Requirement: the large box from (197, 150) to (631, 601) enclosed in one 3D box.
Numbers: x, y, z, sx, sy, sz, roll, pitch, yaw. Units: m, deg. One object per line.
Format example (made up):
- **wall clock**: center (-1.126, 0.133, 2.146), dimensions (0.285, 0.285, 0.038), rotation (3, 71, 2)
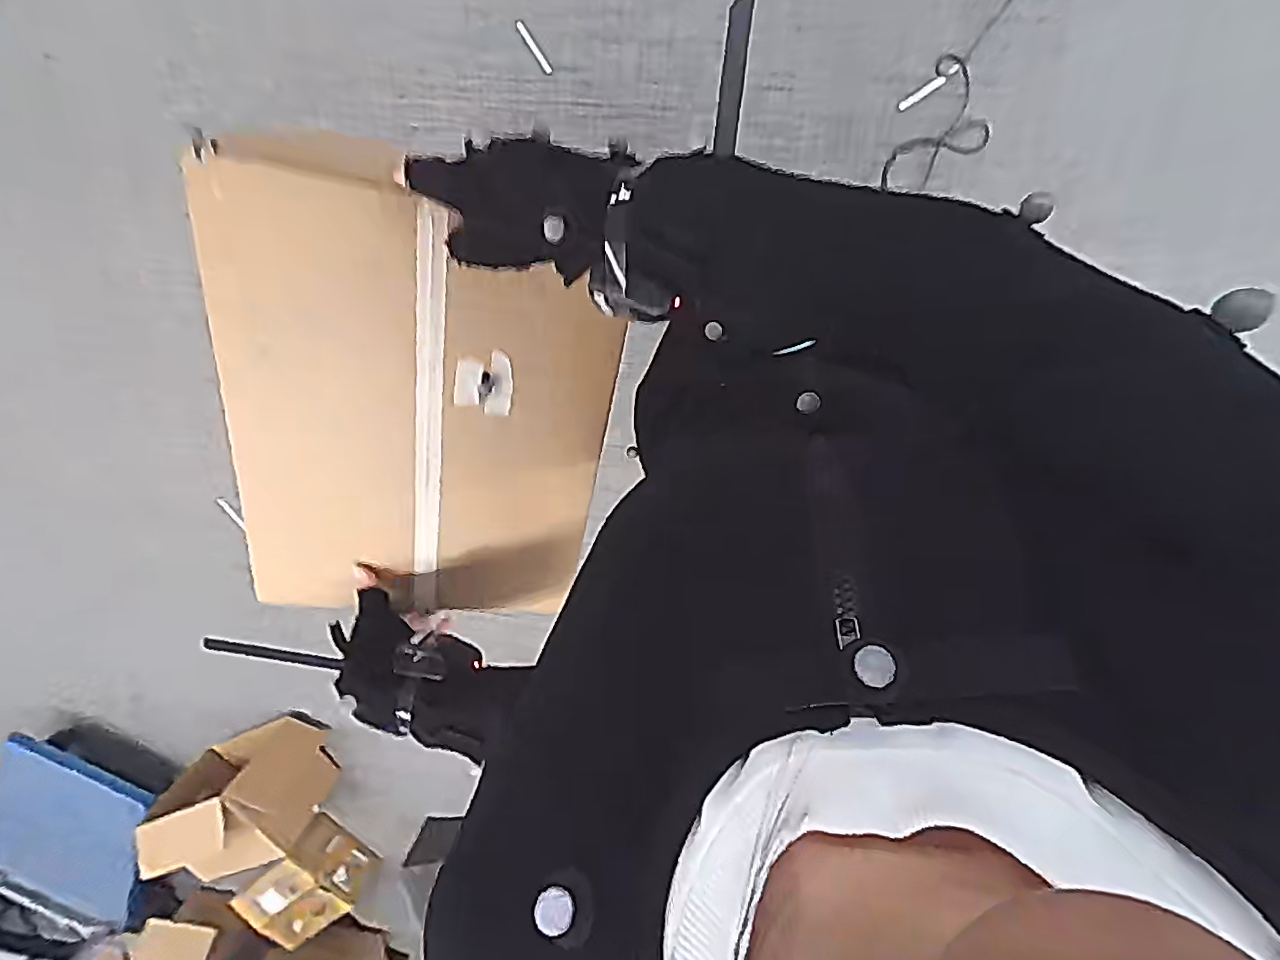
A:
- **large box**: center (-0.214, -0.116, 0.621), dimensions (0.320, 0.320, 0.408), rotation (4, 119, -15)
